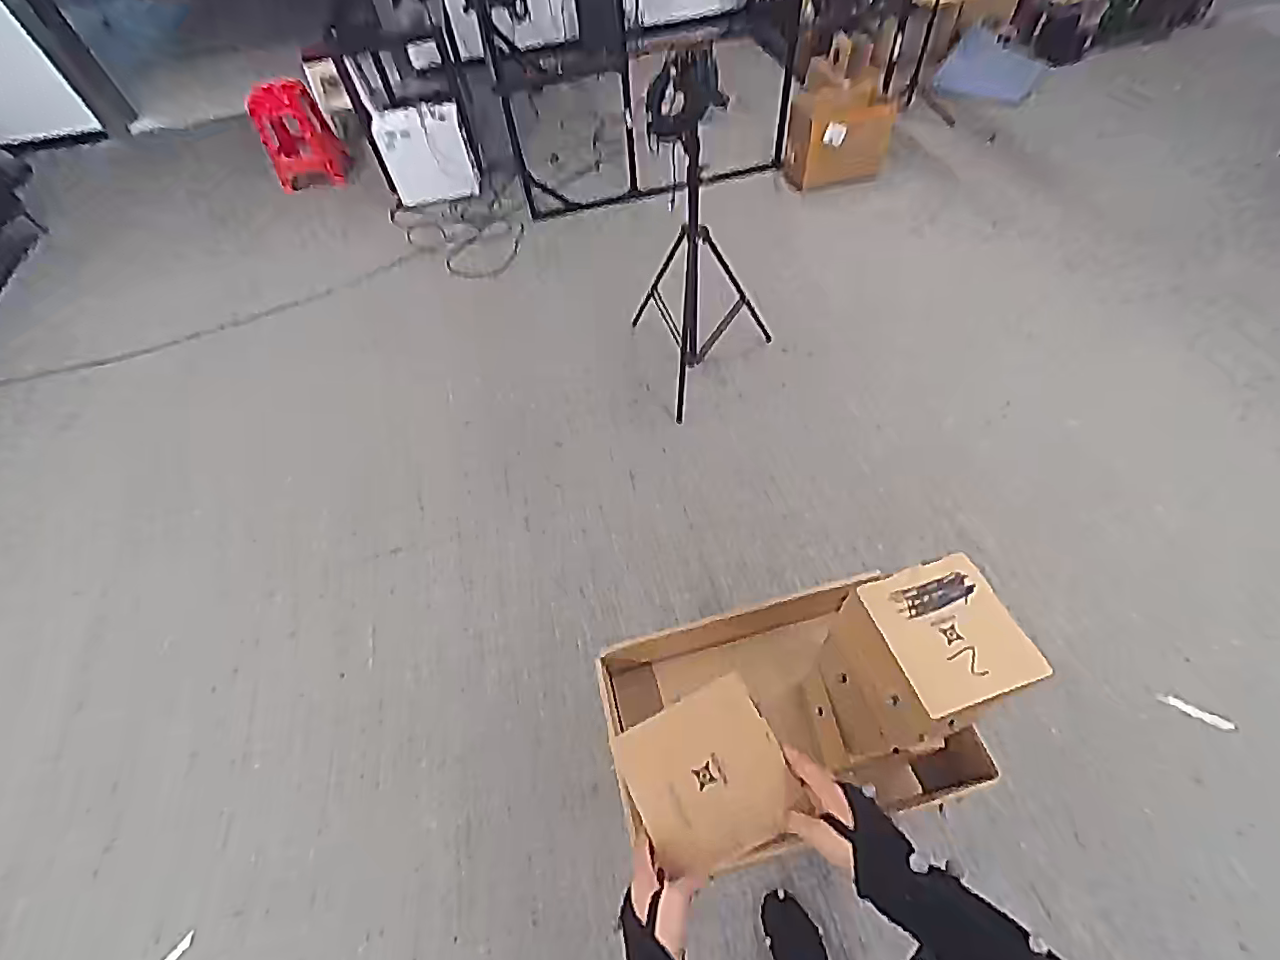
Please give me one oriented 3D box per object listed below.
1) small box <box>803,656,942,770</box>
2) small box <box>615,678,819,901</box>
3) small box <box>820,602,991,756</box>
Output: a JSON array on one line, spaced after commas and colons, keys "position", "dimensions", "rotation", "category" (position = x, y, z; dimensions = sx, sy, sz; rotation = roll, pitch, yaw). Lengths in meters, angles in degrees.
[{"position": [0.418, 0.428, 1.005], "dimensions": [0.168, 0.176, 0.179], "rotation": [-8, 54, -1], "category": "small box"}, {"position": [0.090, 0.370, 0.671], "dimensions": [0.179, 0.176, 0.168], "rotation": [-27, 62, -5], "category": "small box"}, {"position": [0.411, 0.326, 0.878], "dimensions": [0.168, 0.176, 0.179], "rotation": [-12, 54, -3], "category": "small box"}]
